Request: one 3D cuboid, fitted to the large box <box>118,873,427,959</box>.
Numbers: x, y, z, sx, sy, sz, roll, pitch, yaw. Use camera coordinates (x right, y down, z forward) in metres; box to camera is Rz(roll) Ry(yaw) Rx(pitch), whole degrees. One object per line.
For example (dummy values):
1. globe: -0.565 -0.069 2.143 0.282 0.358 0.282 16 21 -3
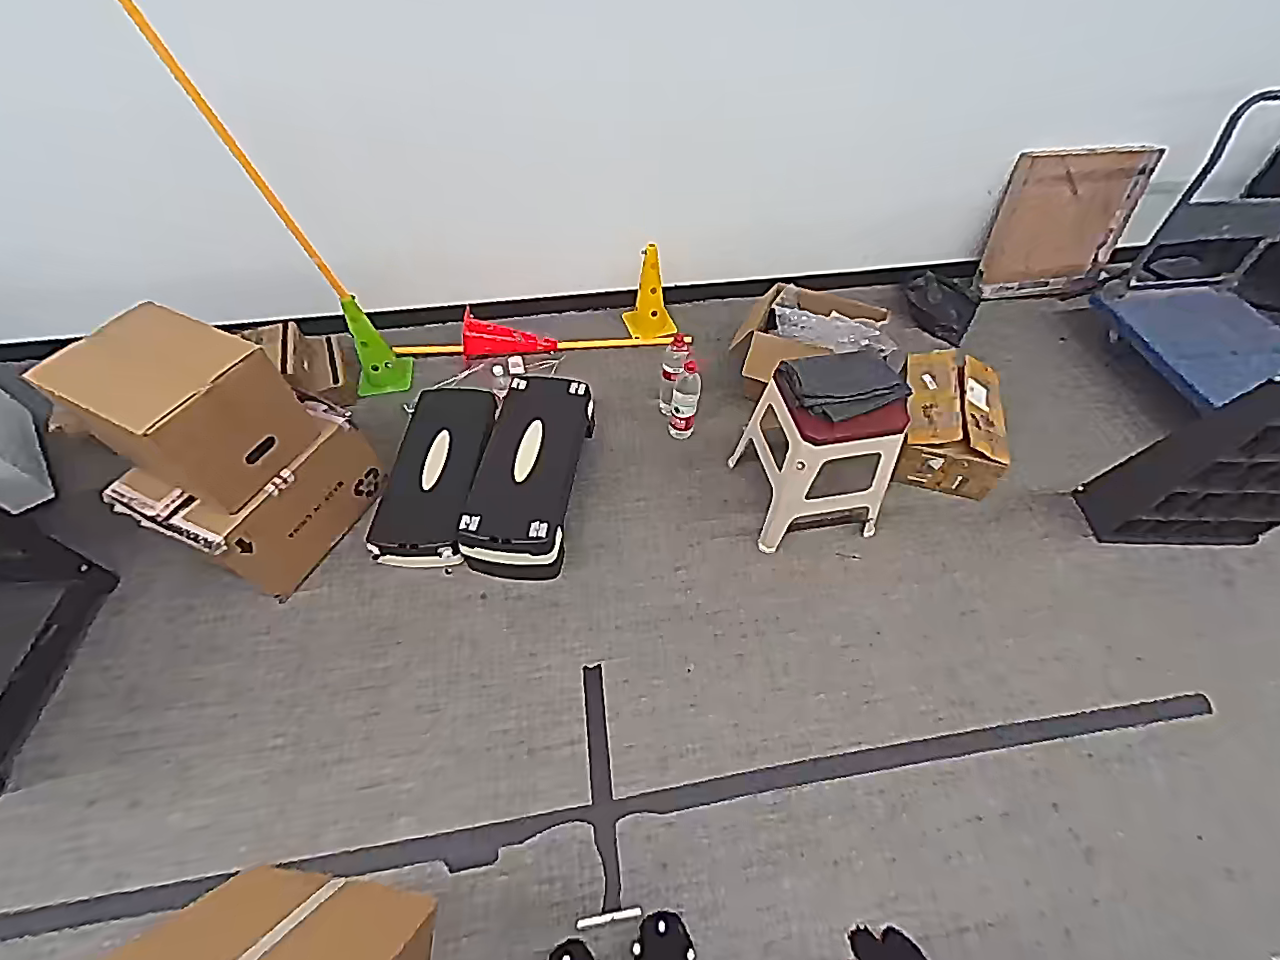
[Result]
1. large box: -0.503 0.745 0.617 0.320 0.408 0.320 5 80 7
